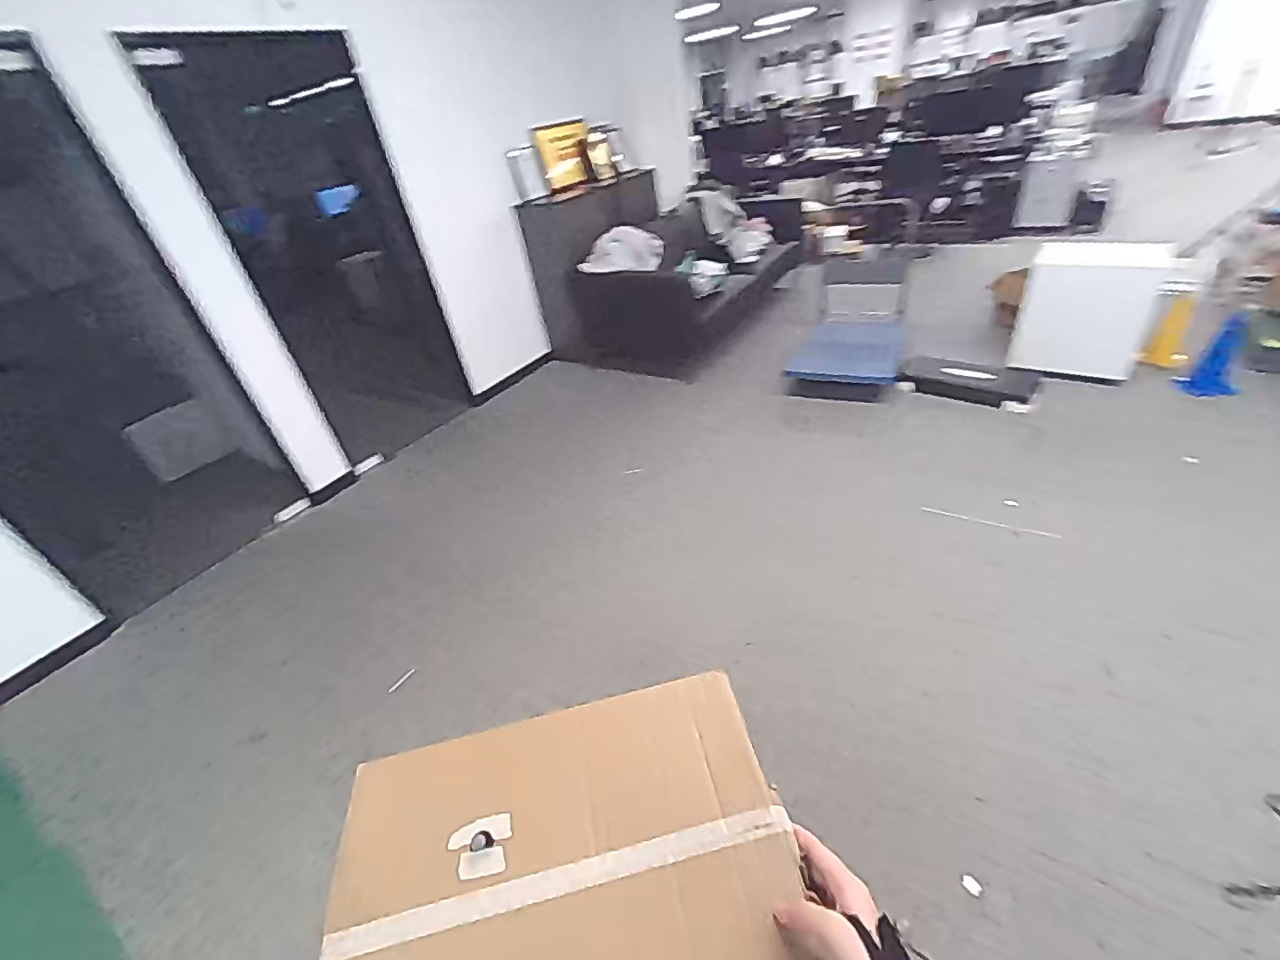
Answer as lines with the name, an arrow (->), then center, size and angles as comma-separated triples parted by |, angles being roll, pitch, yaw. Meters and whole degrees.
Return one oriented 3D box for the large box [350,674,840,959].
large box -> -0.033, 0.468, 0.574 | 0.408, 0.320, 0.320 | -14, 39, -2
